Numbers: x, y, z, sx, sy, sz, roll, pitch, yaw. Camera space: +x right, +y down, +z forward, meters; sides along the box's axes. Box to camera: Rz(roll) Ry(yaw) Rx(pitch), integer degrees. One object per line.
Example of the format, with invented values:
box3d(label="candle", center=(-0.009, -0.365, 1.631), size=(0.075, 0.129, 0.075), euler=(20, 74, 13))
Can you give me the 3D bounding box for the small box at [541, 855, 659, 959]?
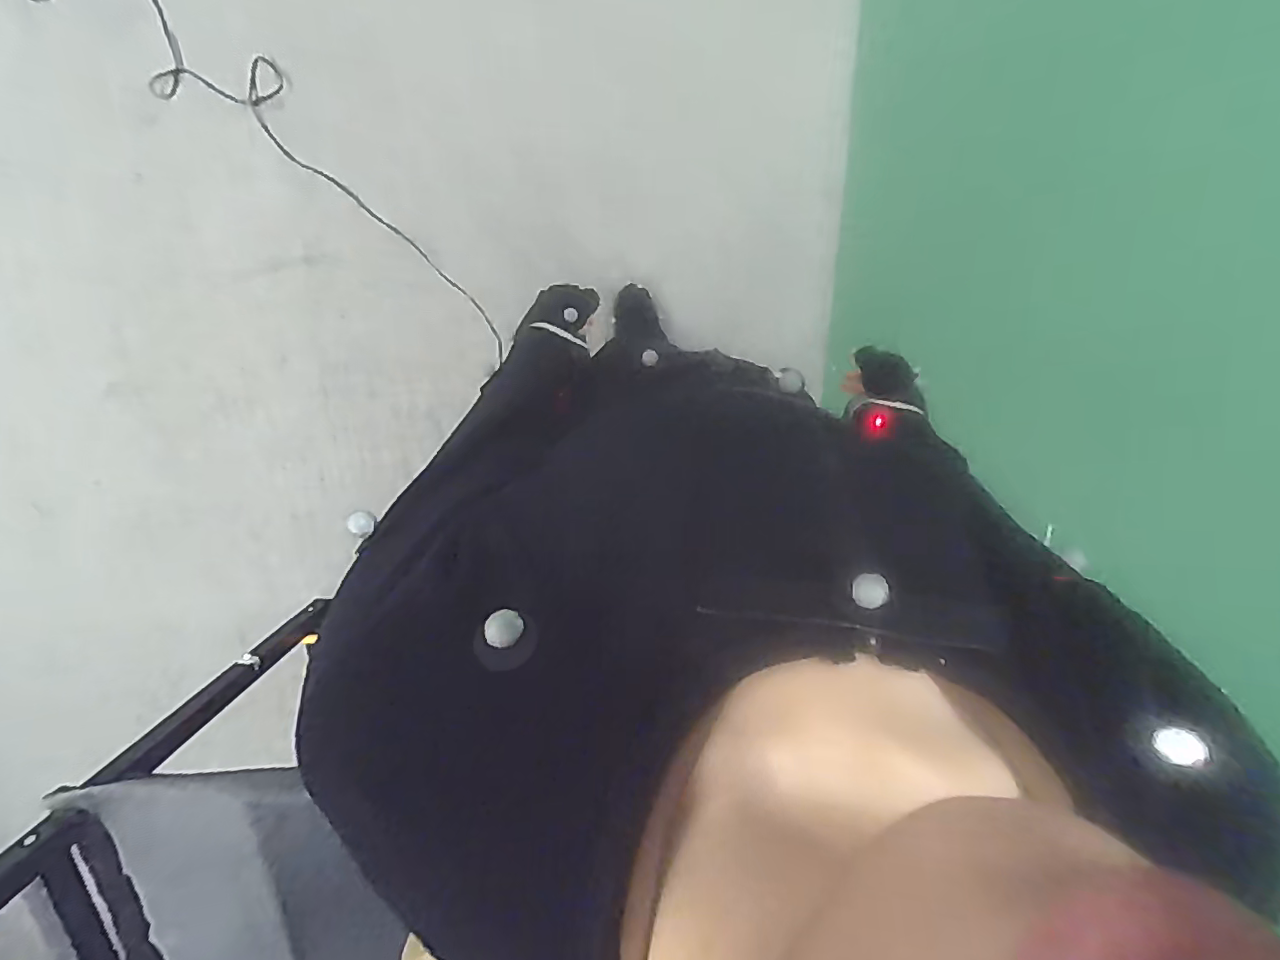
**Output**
box3d(label="small box", center=(-0.055, 0.749, 0.871), size=(0.168, 0.176, 0.179), euler=(-2, 106, 3))
